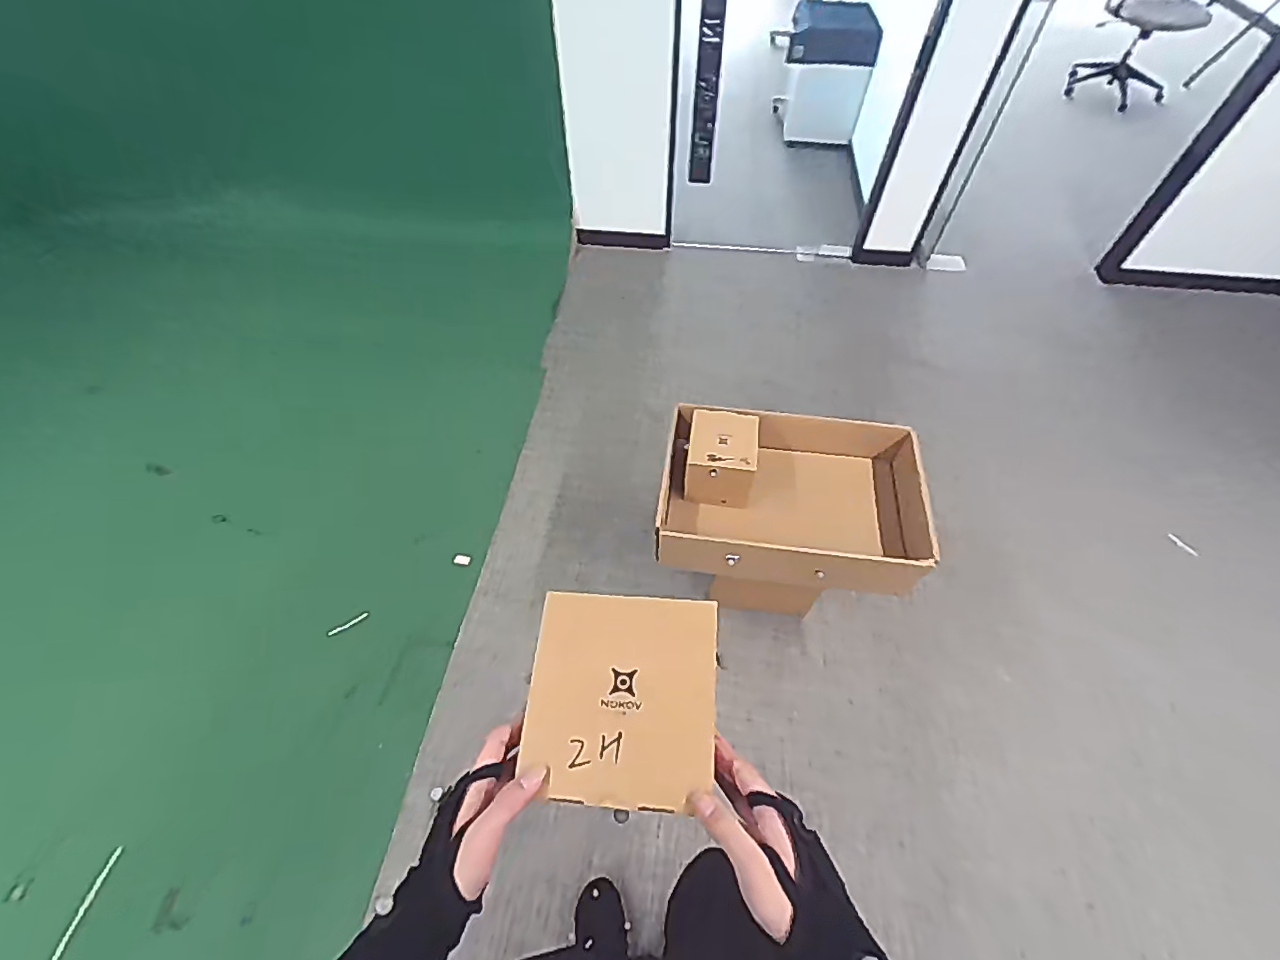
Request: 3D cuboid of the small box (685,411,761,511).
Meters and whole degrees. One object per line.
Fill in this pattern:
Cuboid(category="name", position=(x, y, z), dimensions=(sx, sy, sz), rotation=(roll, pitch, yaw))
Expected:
Cuboid(category="small box", position=(0.208, -0.047, 1.377), dimensions=(0.168, 0.176, 0.179), rotation=(8, 55, 6))

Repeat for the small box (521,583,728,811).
Cuboid(category="small box", position=(-0.004, 0.221, 0.546), dimensions=(0.168, 0.176, 0.179), rotation=(4, 61, 7))
